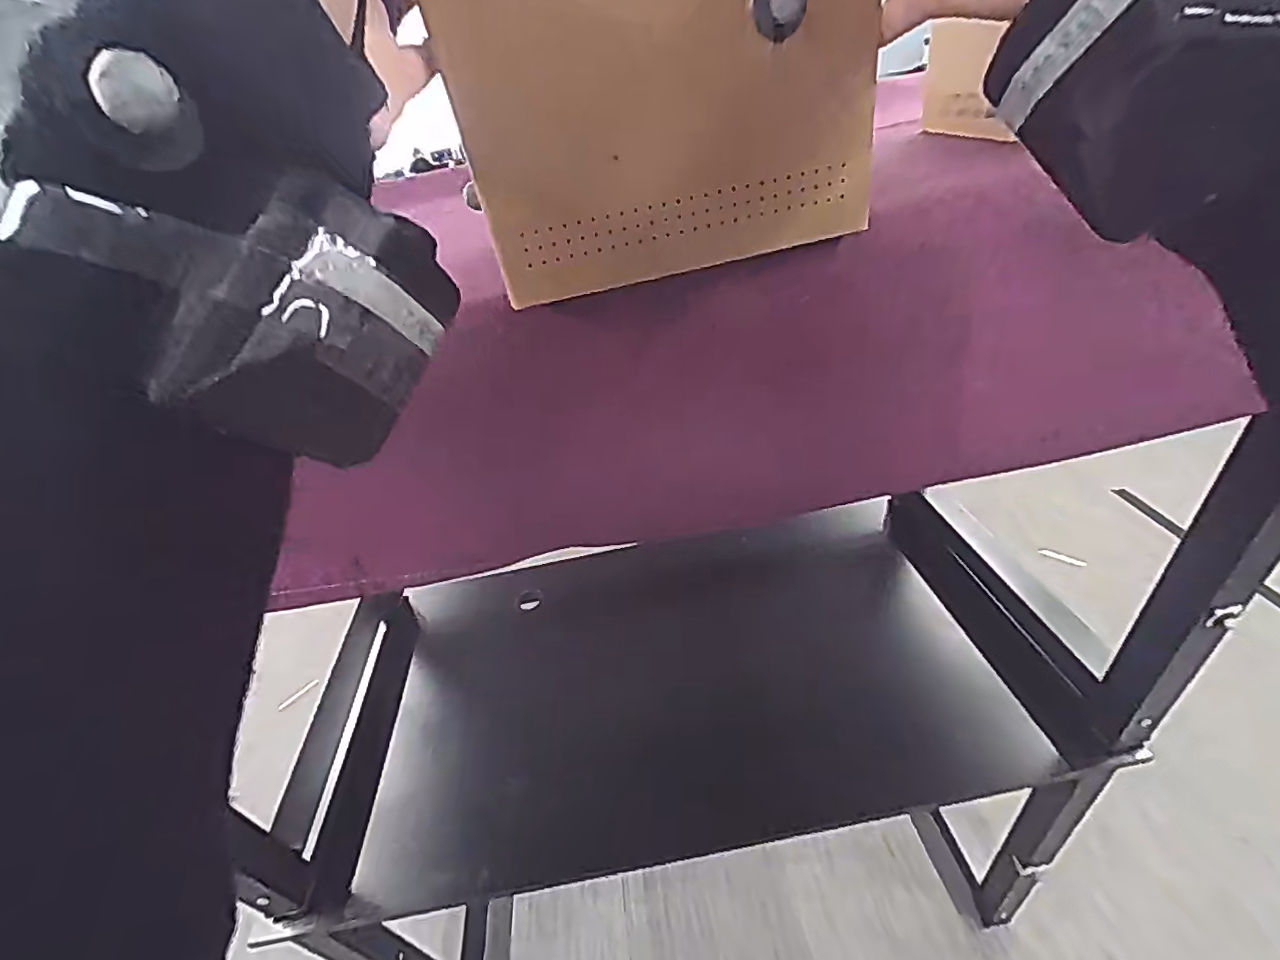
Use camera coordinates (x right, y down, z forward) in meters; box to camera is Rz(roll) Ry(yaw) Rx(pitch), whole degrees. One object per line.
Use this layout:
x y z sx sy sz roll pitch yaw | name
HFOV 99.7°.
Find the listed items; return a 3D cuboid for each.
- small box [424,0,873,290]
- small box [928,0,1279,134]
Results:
-0.001 -0.214 0.272 0.179 0.176 0.168 -14 34 -2 | small box
0.316 -0.340 0.346 0.179 0.176 0.168 -10 34 3 | small box
